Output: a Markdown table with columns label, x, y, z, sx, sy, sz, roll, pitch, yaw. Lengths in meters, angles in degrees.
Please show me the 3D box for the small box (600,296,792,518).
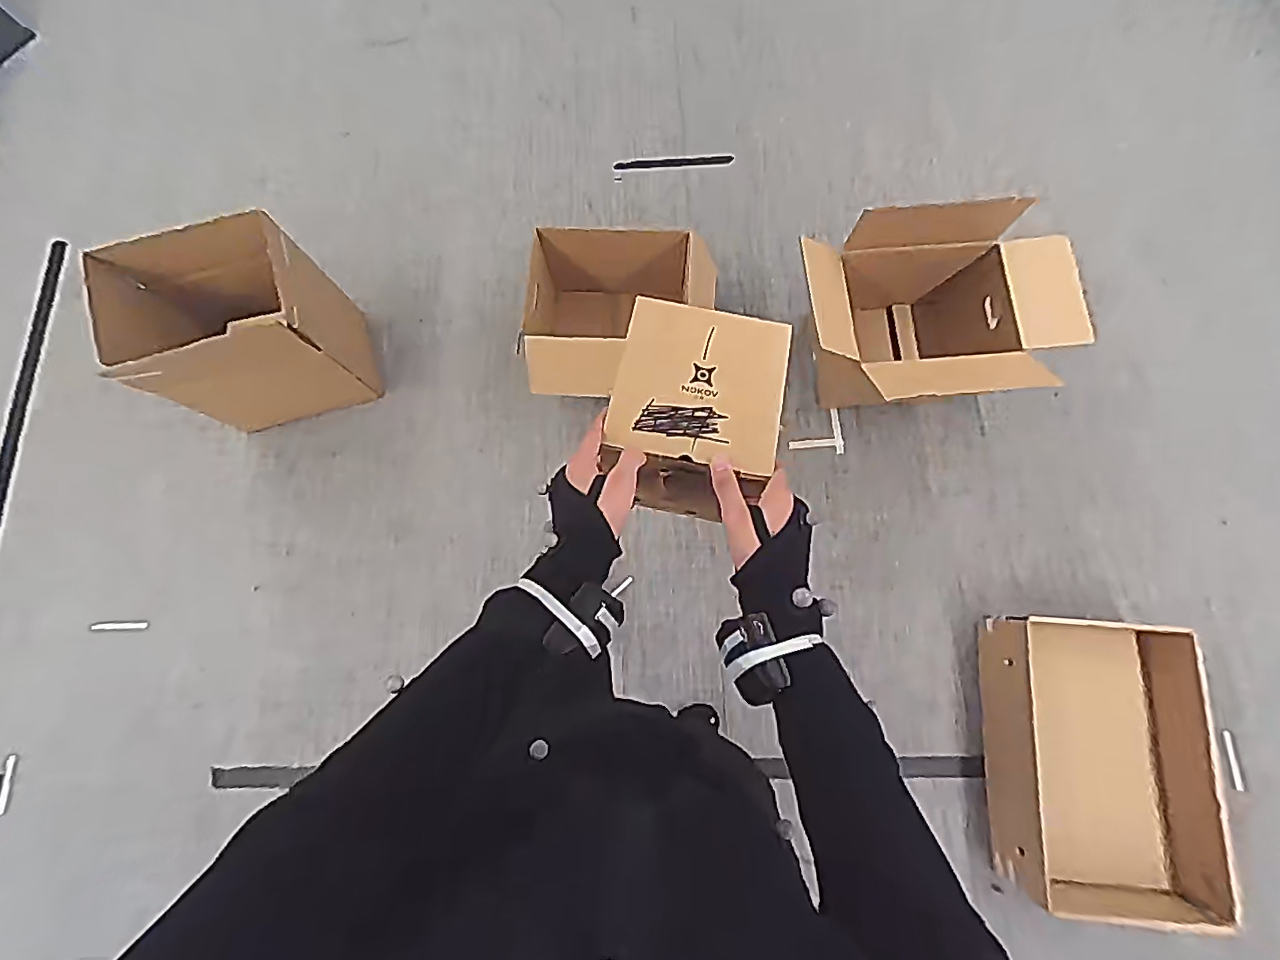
| label | x | y | z | sx | sy | sz | roll | pitch | yaw |
| --- | --- | --- | --- | --- | --- | --- | --- | --- | --- |
| small box | 0.058 | -0.070 | 0.606 | 0.168 | 0.176 | 0.179 | 12 | 69 | 2 |
